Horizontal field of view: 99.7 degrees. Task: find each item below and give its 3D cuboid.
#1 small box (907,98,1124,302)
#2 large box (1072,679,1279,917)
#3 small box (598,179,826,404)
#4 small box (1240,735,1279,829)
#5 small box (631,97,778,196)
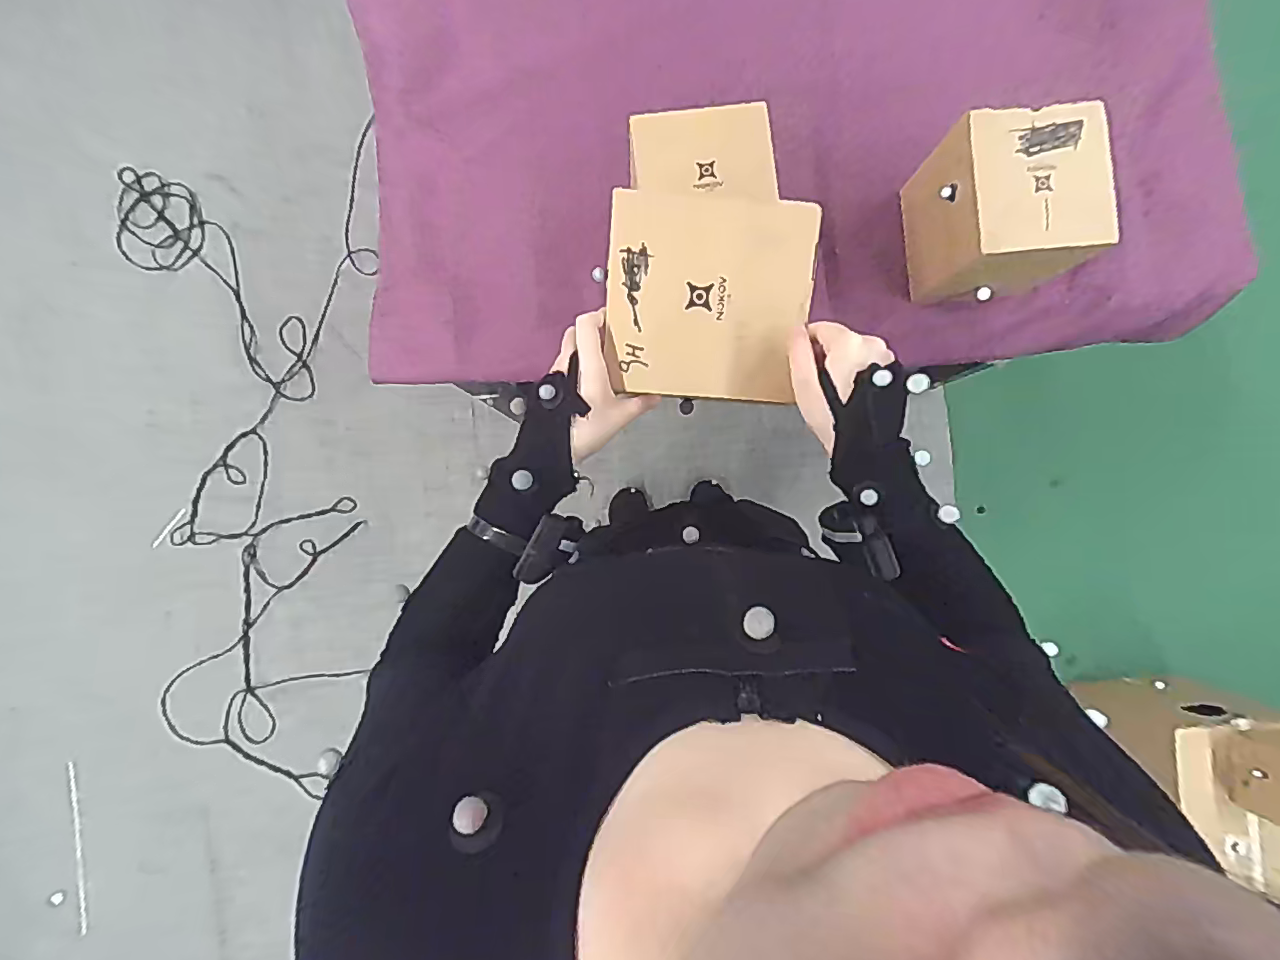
[{"bbox_3d":[0.471,-0.352,0.707,0.168,0.176,0.179,-5,88,0],"label":"small box"},{"bbox_3d":[1.345,0.748,1.331,0.320,0.320,0.408,-3,89,1],"label":"large box"},{"bbox_3d":[0.056,-0.164,0.522,0.179,0.176,0.168,4,98,-1],"label":"small box"},{"bbox_3d":[1.390,0.632,1.091,0.179,0.176,0.168,-3,89,0],"label":"small box"},{"bbox_3d":[0.076,-0.350,0.706,0.168,0.176,0.179,-6,87,1],"label":"small box"}]
